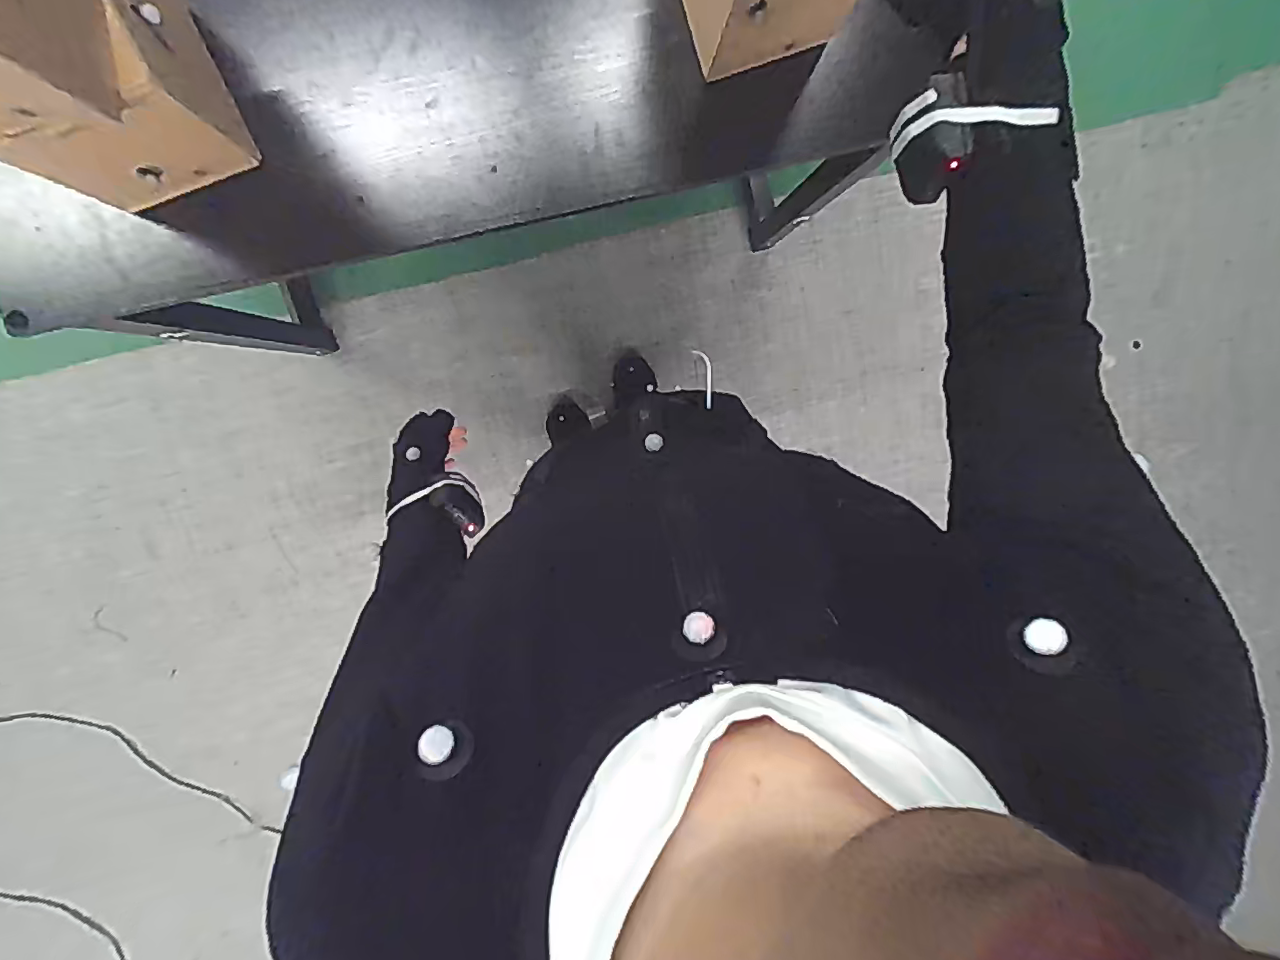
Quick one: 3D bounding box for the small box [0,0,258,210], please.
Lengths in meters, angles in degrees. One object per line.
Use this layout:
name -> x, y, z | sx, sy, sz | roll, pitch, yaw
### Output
small box -> -0.539, -0.405, 0.536 | 0.168, 0.176, 0.179 | -23, 102, -2

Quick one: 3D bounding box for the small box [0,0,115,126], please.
small box -> -0.525, -0.376, 0.375 | 0.168, 0.176, 0.179 | -2, 100, -6
